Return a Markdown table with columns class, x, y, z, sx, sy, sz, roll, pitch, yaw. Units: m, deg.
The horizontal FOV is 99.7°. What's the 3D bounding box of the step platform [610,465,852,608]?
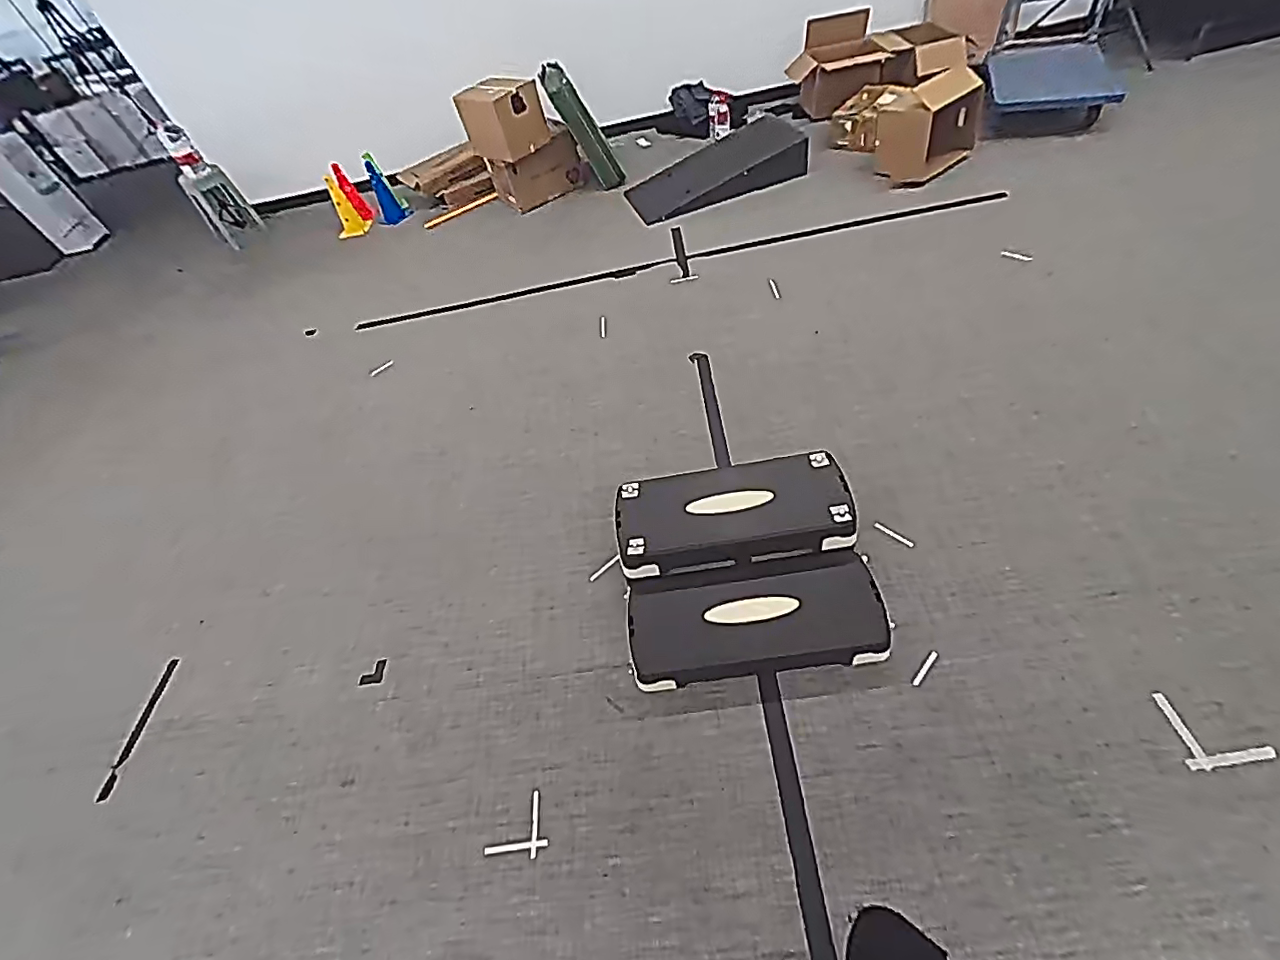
| class | x | y | z | sx | sy | sz | roll | pitch | yaw |
| --- | --- | --- | --- | --- | --- | --- | --- | --- | --- |
| step platform | 0.254 | 0.161 | 1.592 | 0.684 | 0.204 | 0.286 | -10 | 50 | 3 |
